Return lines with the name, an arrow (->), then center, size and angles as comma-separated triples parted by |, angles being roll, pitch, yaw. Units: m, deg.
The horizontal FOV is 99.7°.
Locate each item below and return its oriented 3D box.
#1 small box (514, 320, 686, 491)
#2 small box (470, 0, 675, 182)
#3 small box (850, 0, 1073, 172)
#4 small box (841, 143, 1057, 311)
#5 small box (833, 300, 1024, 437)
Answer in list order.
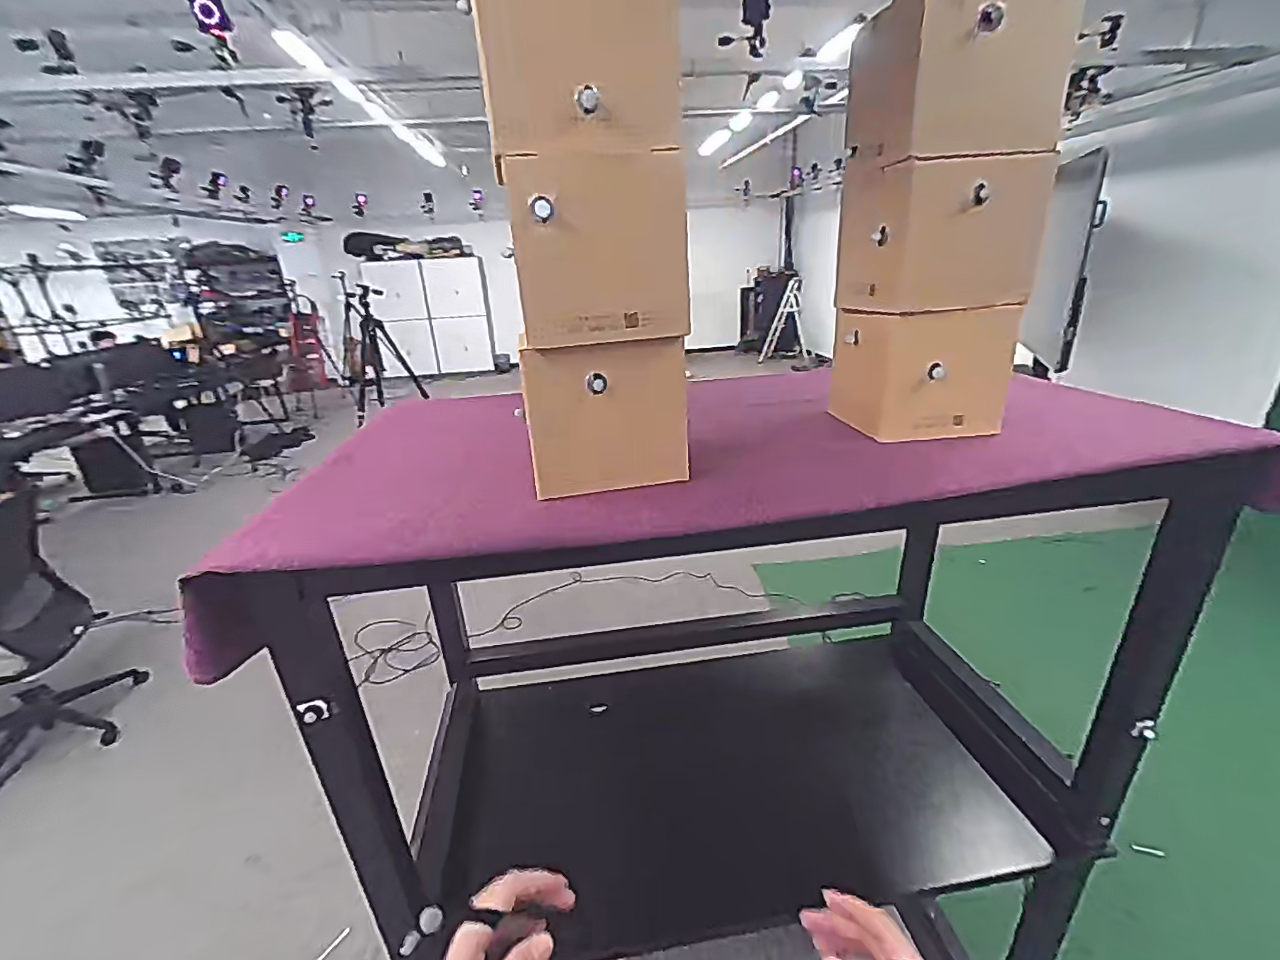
small box -> -0.050, -0.094, 0.649 | 0.179, 0.176, 0.168 | -7, 22, -9
small box -> -0.066, -0.399, 0.532 | 0.179, 0.176, 0.168 | -7, 21, -10
small box -> 0.362, -0.464, 0.635 | 0.179, 0.176, 0.168 | -5, 22, -4
small box -> 0.371, -0.307, 0.684 | 0.179, 0.176, 0.168 | -6, 22, -6
small box -> 0.383, -0.159, 0.751 | 0.168, 0.176, 0.179 | -5, 21, -2
